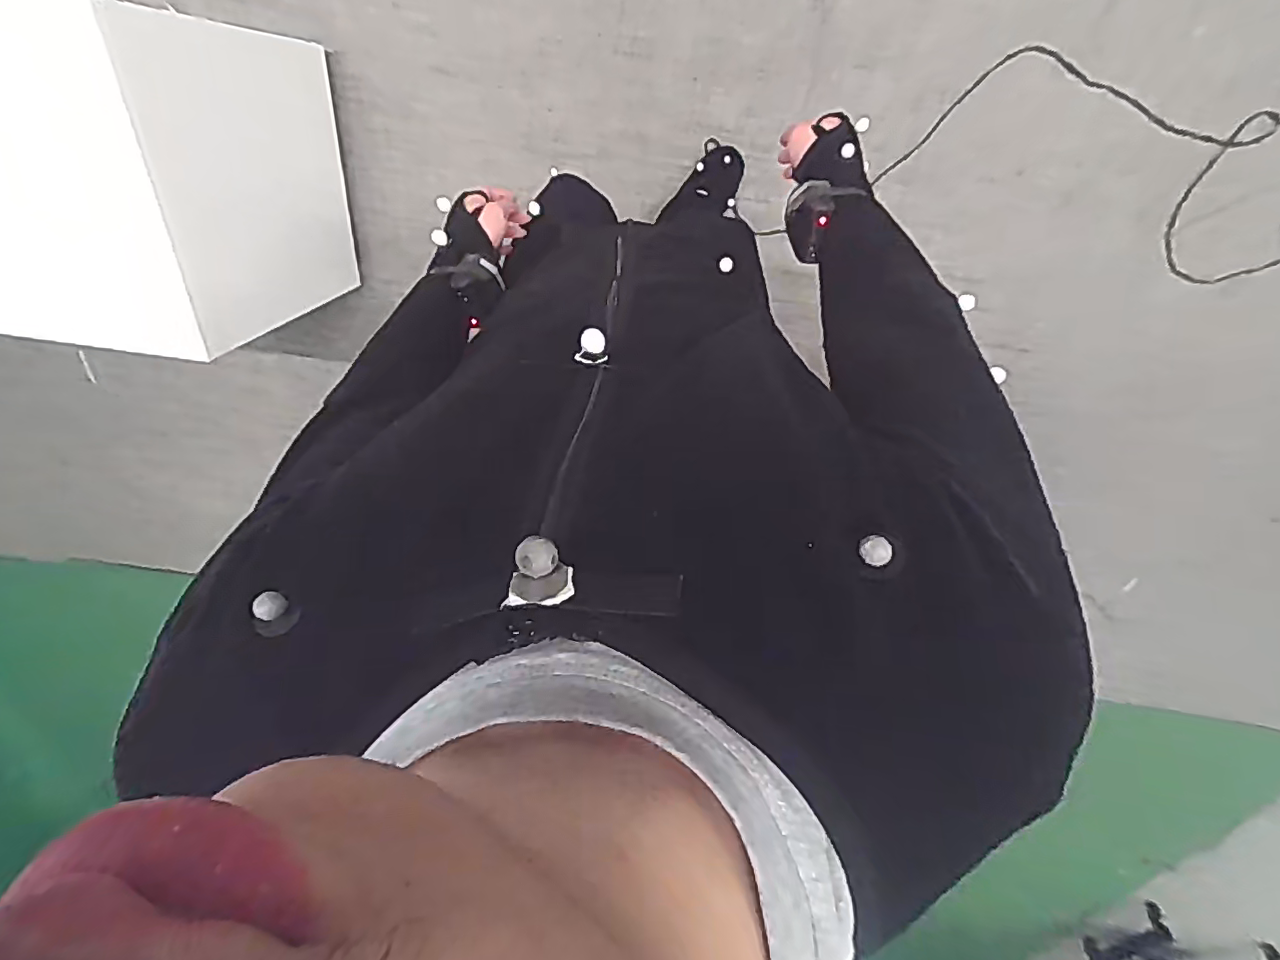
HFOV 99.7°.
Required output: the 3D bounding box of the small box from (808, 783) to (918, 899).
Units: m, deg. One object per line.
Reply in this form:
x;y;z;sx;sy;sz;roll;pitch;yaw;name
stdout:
0.510;0.842;1.271;0.179;0.176;0.168;8;123;0;small box
